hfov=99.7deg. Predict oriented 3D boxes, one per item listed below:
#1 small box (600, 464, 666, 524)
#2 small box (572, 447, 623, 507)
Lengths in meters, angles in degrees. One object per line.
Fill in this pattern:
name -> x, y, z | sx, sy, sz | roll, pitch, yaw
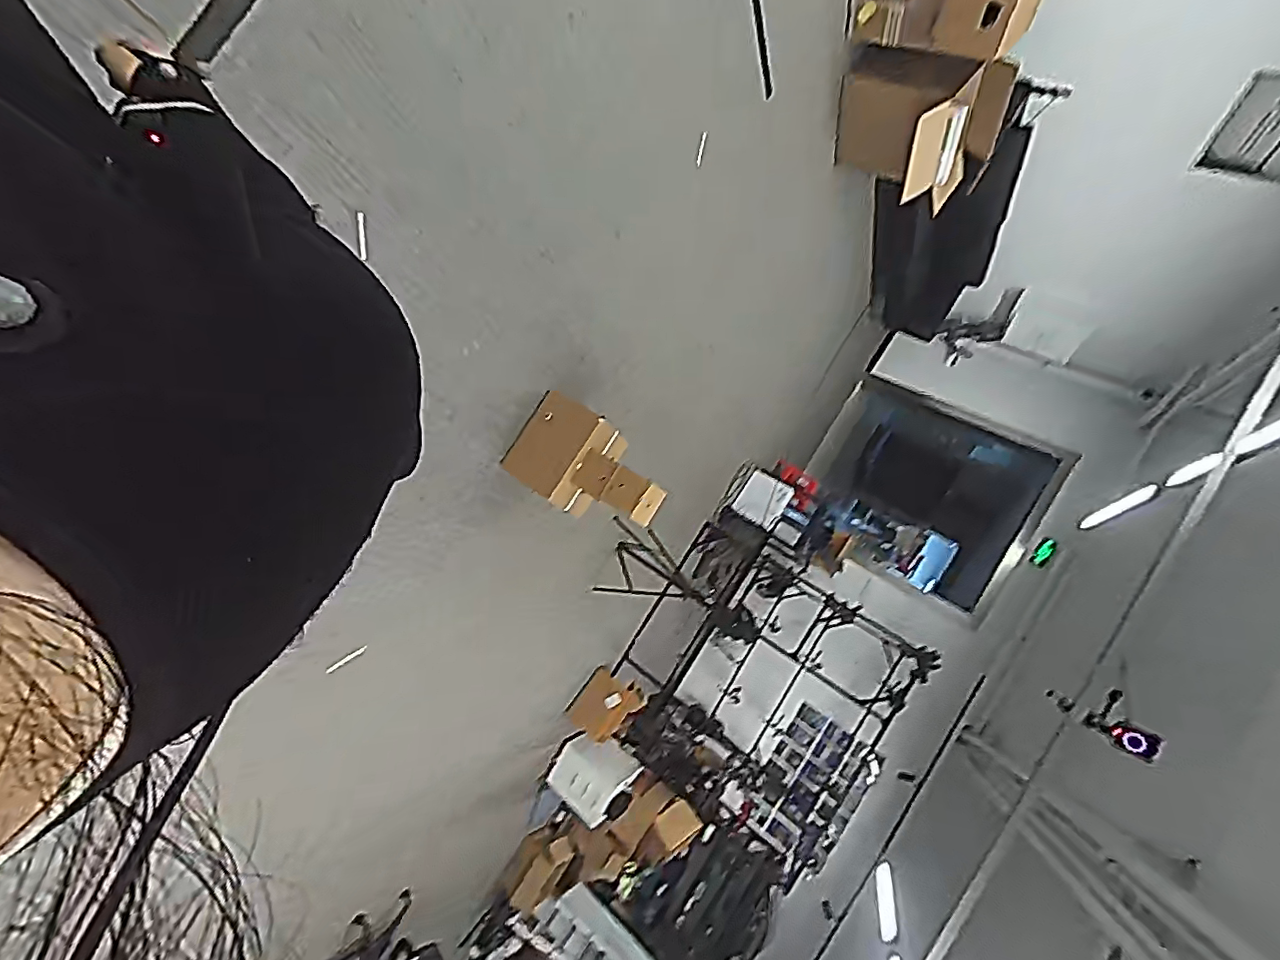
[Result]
small box -> -0.030, 0.054, 2.180 | 0.168, 0.176, 0.179 | -58, 152, -2
small box -> -0.153, -0.015, 2.261 | 0.179, 0.176, 0.168 | -58, 152, -1
